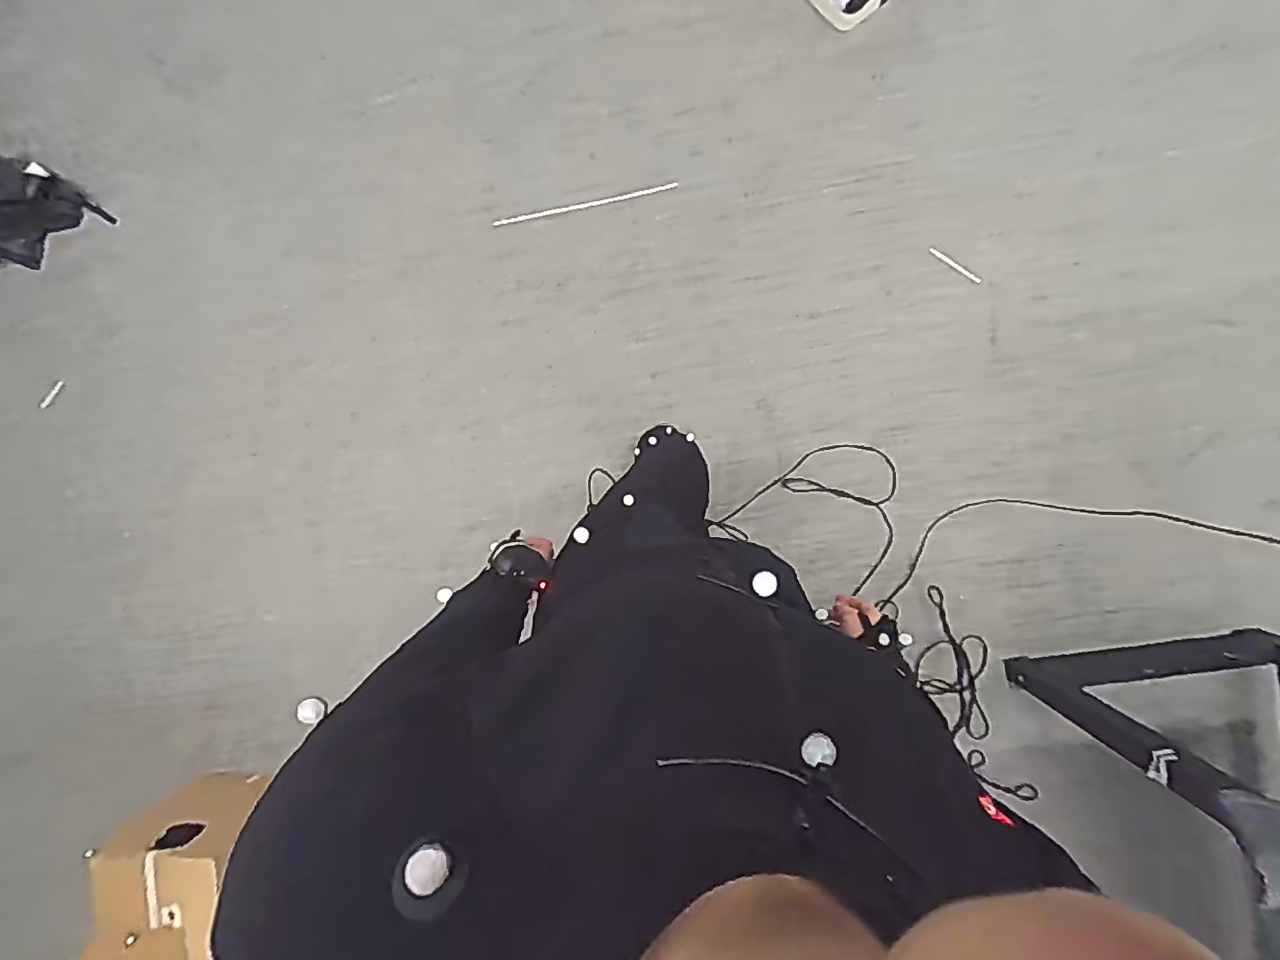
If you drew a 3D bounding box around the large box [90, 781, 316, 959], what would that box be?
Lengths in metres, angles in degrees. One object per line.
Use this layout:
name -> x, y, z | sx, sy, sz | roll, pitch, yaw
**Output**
large box -> -1.060, 1.035, 1.348 | 0.320, 0.320, 0.408 | -2, 91, 4
